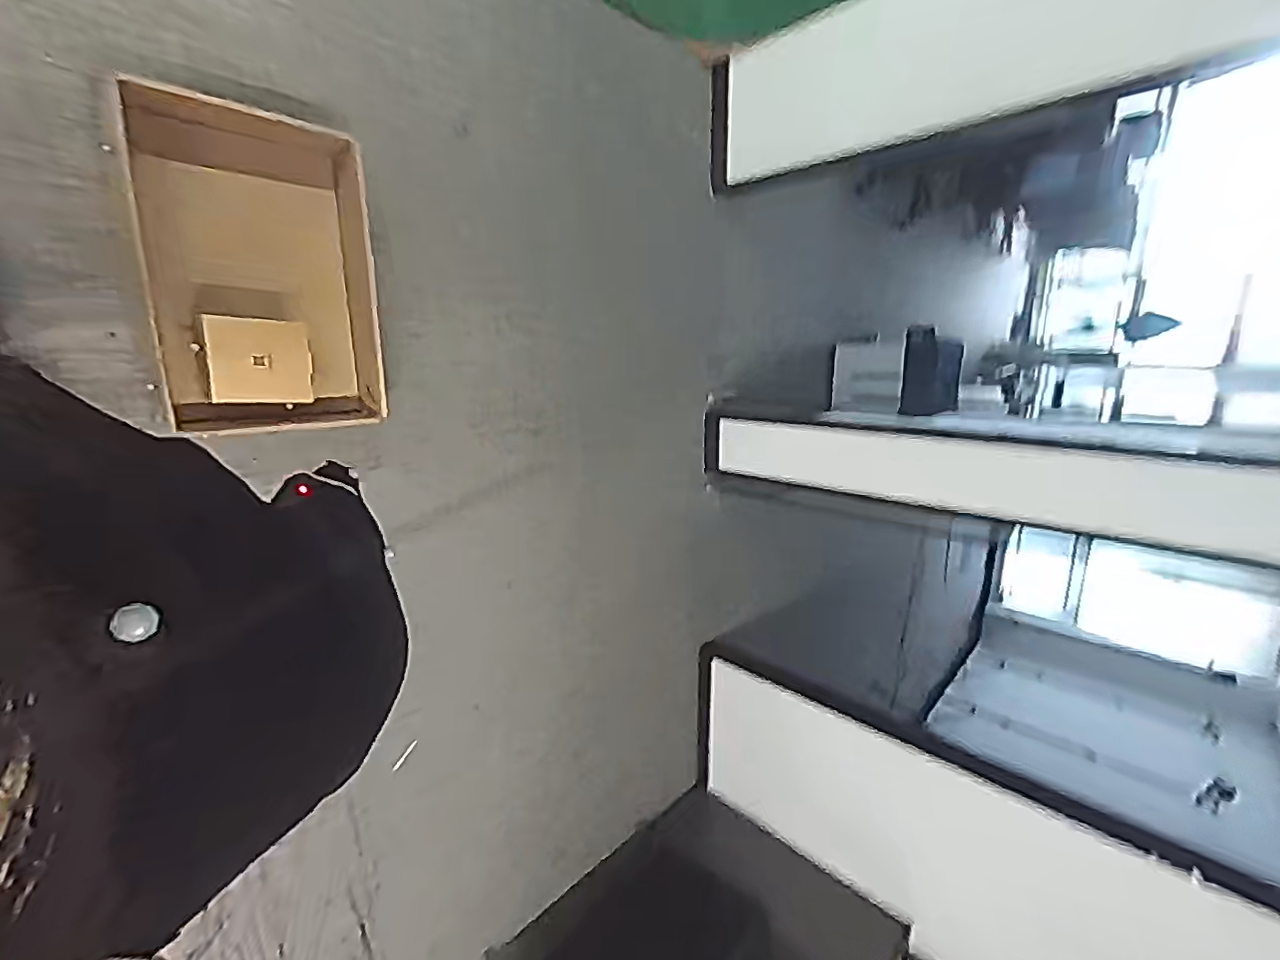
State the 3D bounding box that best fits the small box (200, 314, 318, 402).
[{"bbox_3d":[-0.807,-0.252,1.141,0.179,0.176,0.168,-9,106,-45],"label":"small box"}]
